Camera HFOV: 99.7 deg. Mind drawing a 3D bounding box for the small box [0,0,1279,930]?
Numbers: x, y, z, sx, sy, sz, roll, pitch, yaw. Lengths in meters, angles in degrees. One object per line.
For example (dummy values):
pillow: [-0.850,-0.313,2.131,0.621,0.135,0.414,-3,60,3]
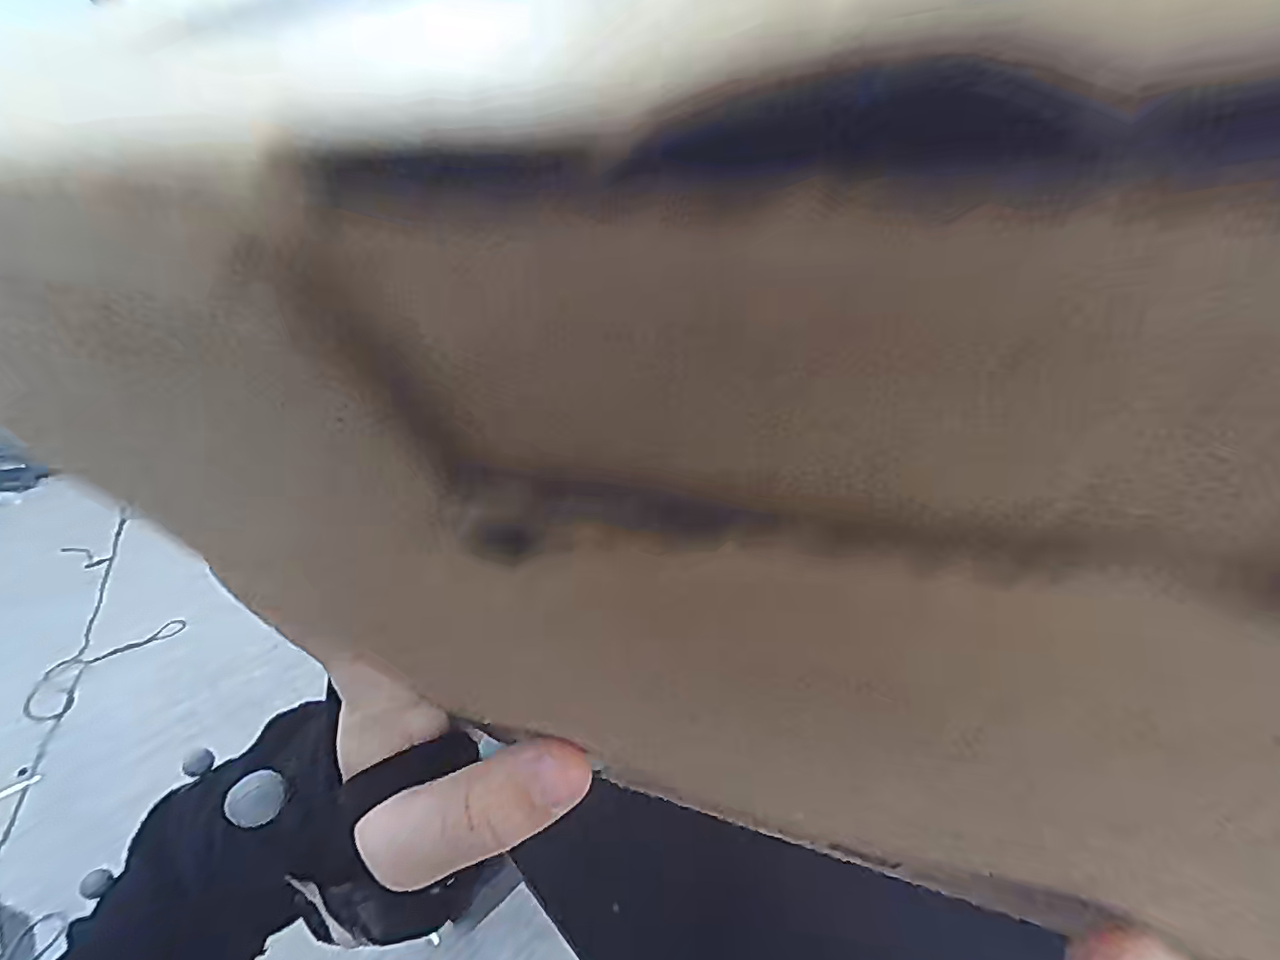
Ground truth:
small box: [0.042,-0.028,0.125,0.168,0.176,0.179,8,54,18]
